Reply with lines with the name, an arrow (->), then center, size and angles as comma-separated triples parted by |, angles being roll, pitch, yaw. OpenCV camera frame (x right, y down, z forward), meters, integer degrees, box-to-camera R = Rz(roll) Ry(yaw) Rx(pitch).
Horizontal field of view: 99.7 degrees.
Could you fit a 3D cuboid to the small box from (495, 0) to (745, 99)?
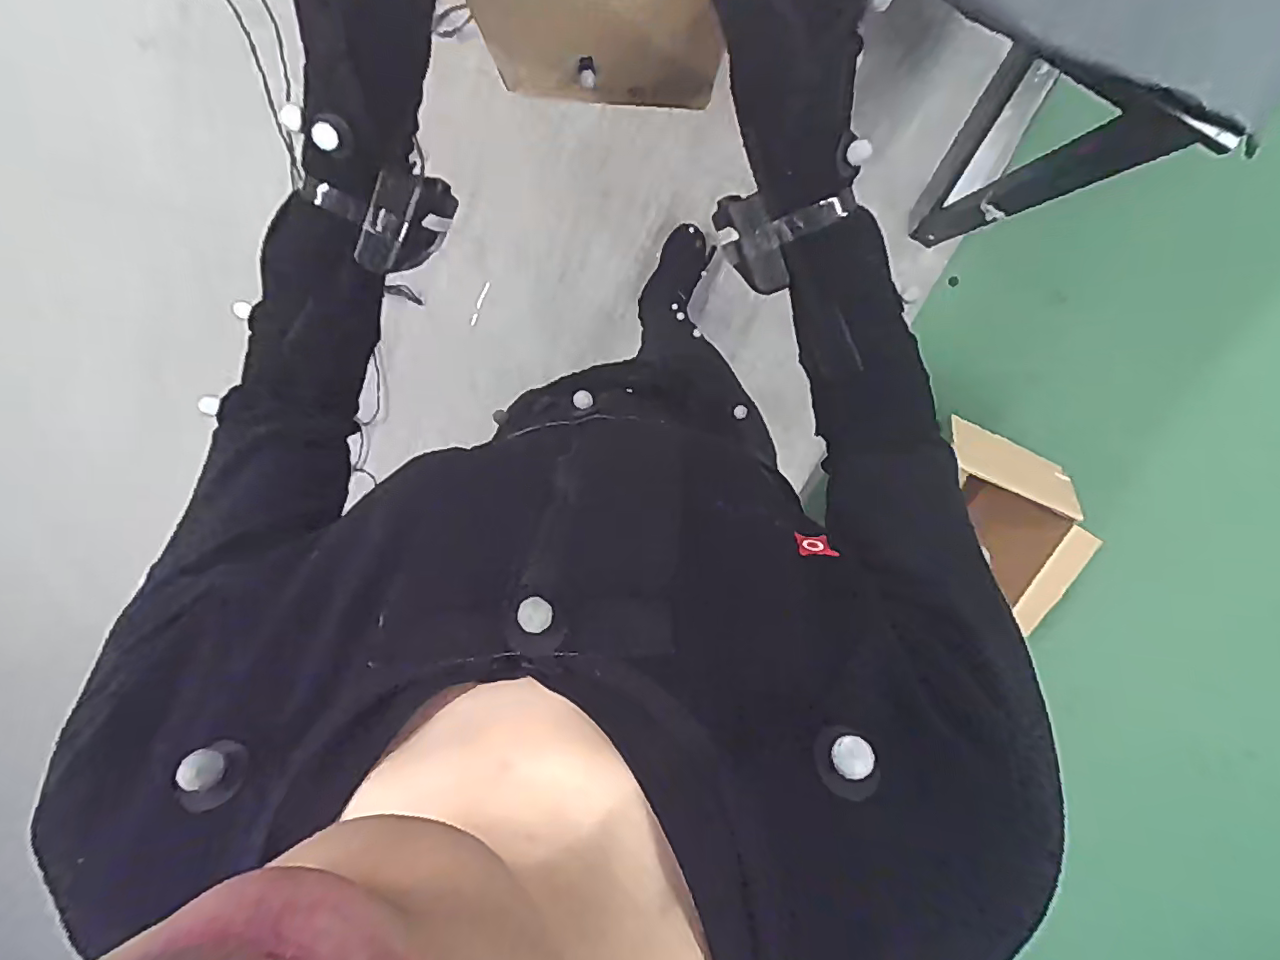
small box -> -0.014, -0.386, 0.347 | 0.168, 0.176, 0.179 | 3, 104, -1
